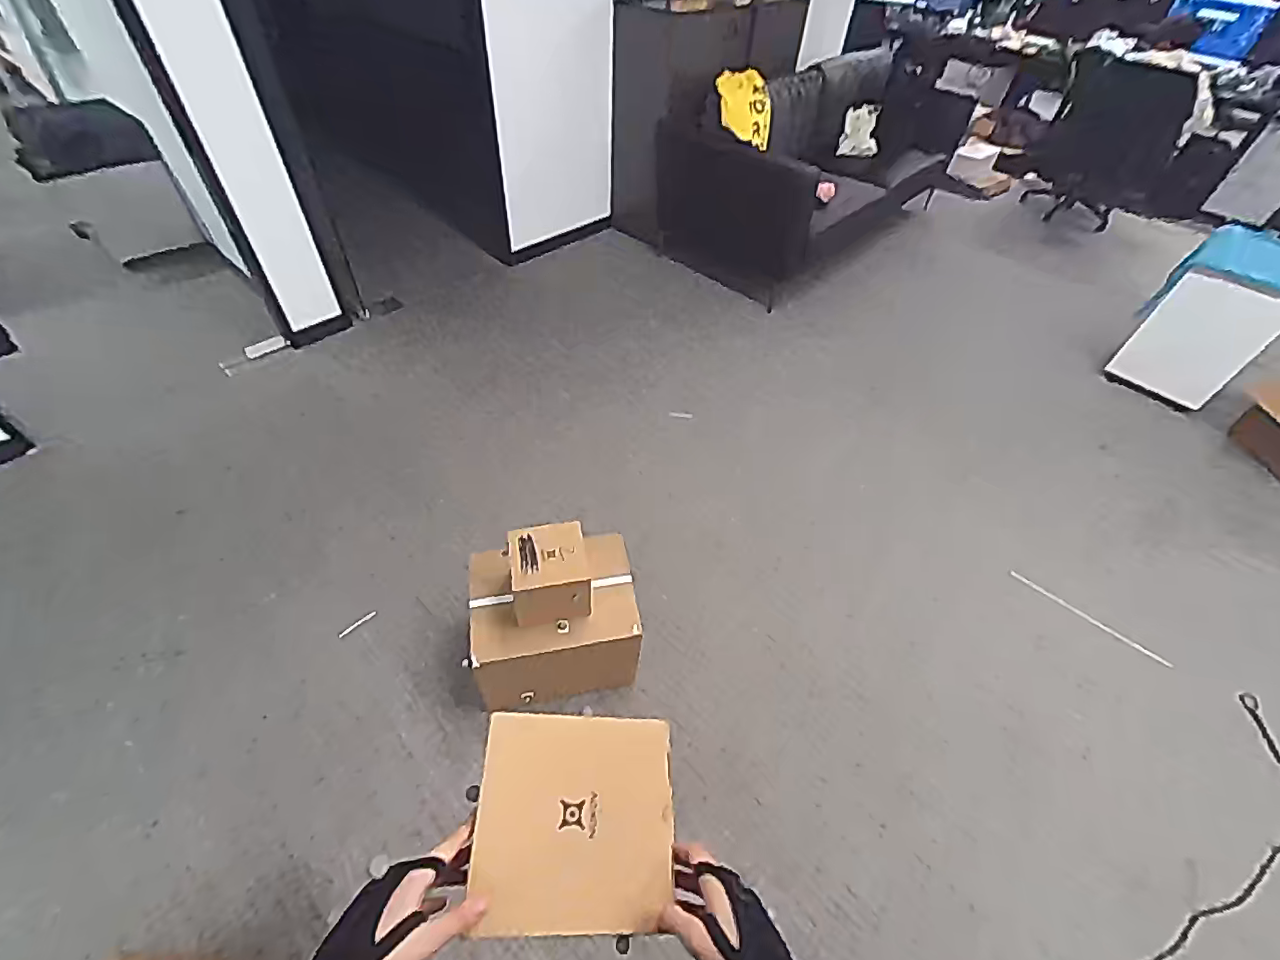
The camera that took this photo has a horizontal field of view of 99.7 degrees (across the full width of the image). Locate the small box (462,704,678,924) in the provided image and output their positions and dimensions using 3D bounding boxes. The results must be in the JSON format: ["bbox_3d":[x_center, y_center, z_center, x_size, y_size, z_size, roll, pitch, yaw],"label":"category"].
[{"bbox_3d":[-0.071,0.336,0.540,0.179,0.176,0.168,8,52,-11],"label":"small box"}]
